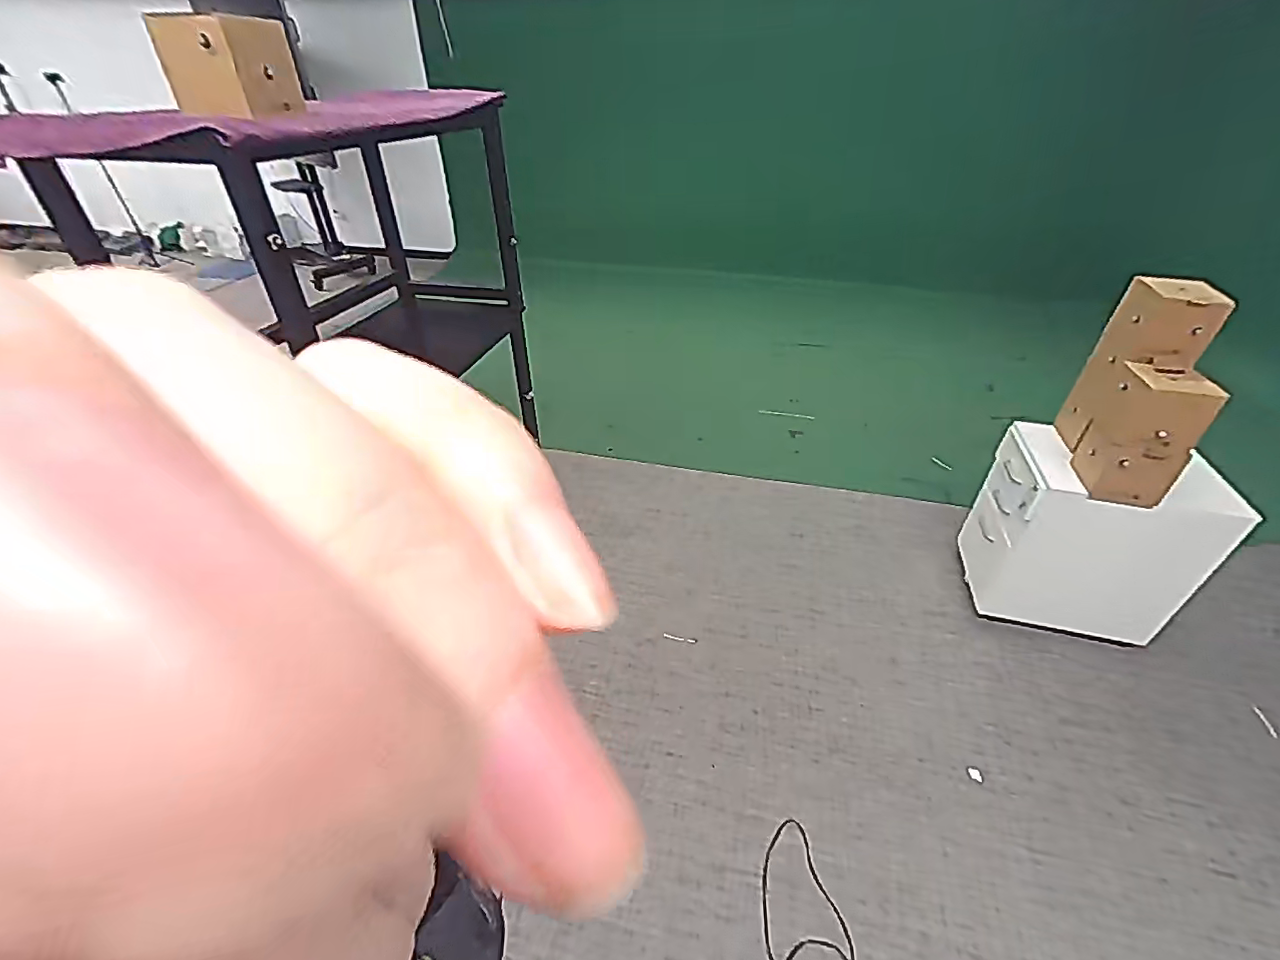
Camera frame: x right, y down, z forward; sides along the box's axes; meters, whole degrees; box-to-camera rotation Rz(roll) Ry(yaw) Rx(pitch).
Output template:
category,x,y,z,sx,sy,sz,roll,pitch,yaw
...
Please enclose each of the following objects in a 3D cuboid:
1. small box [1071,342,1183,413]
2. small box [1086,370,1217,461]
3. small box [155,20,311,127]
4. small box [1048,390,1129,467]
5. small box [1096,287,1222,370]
category,x,y,z,sx,sy,sz,roll,pitch,yaw
small box,1.440,-0.296,1.616,0.168,0.176,0.179,10,40,12
small box,1.349,-0.175,1.446,0.168,0.176,0.179,10,36,12
small box,-0.840,-0.850,1.140,0.179,0.176,0.168,8,35,9
small box,1.441,-0.164,1.714,0.168,0.176,0.179,9,39,11
small box,1.441,-0.424,1.516,0.168,0.176,0.179,10,39,10
